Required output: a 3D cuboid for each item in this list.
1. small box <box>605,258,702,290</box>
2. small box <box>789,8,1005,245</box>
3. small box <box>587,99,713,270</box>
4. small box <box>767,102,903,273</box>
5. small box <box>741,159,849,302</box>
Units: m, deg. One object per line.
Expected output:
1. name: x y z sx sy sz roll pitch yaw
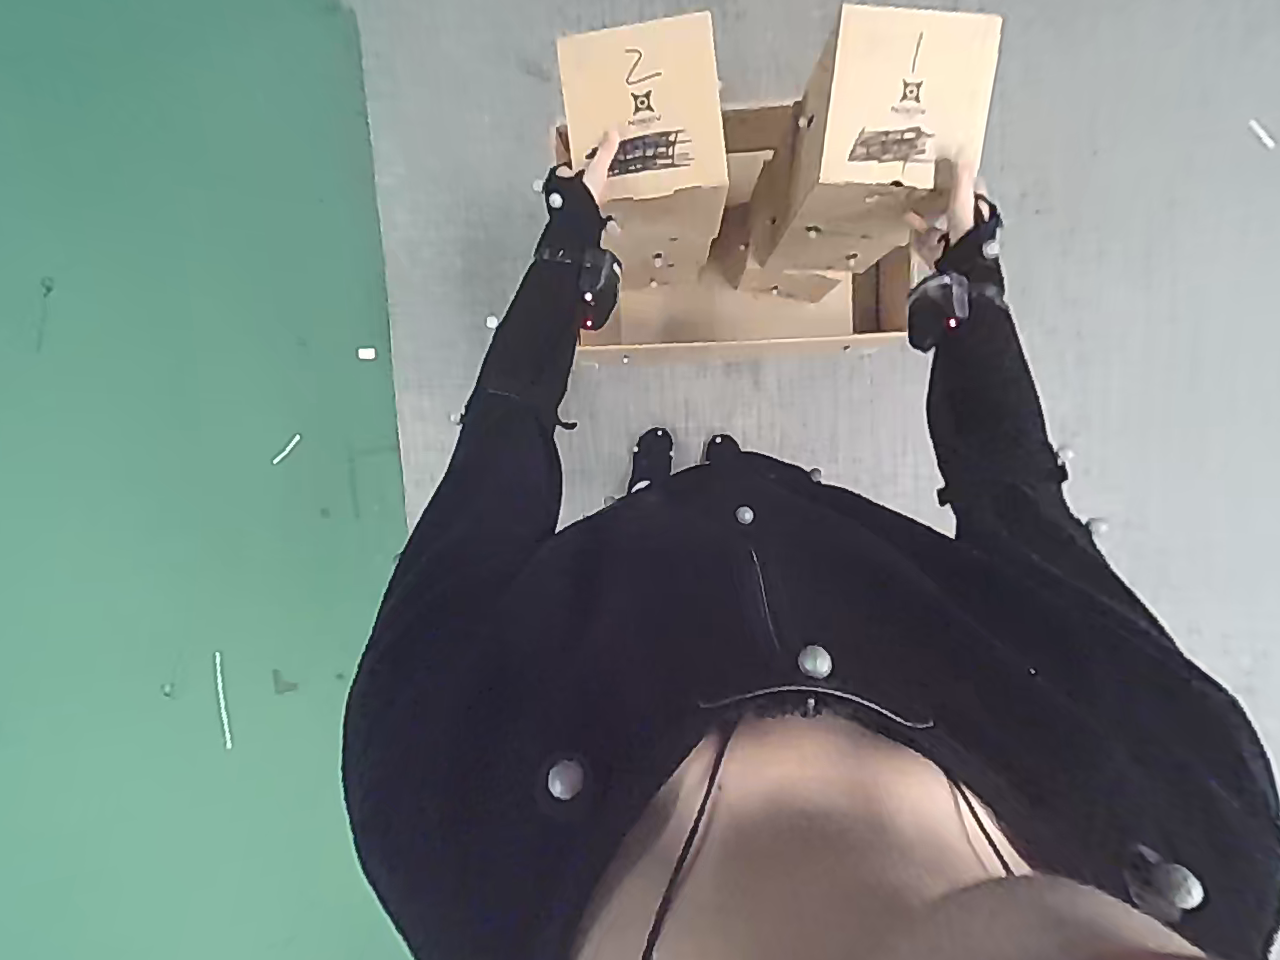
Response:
1. small box: 0.022 -0.458 0.974 0.168 0.176 0.179 -5 96 5
2. small box: 0.281 -0.395 0.637 0.168 0.176 0.179 7 96 2
3. small box: 0.020 -0.426 0.813 0.168 0.176 0.179 -5 97 4
4. small box: 0.287 -0.417 0.799 0.168 0.176 0.179 4 97 3
5. small box: 0.280 -0.432 0.962 0.168 0.176 0.179 9 97 3
